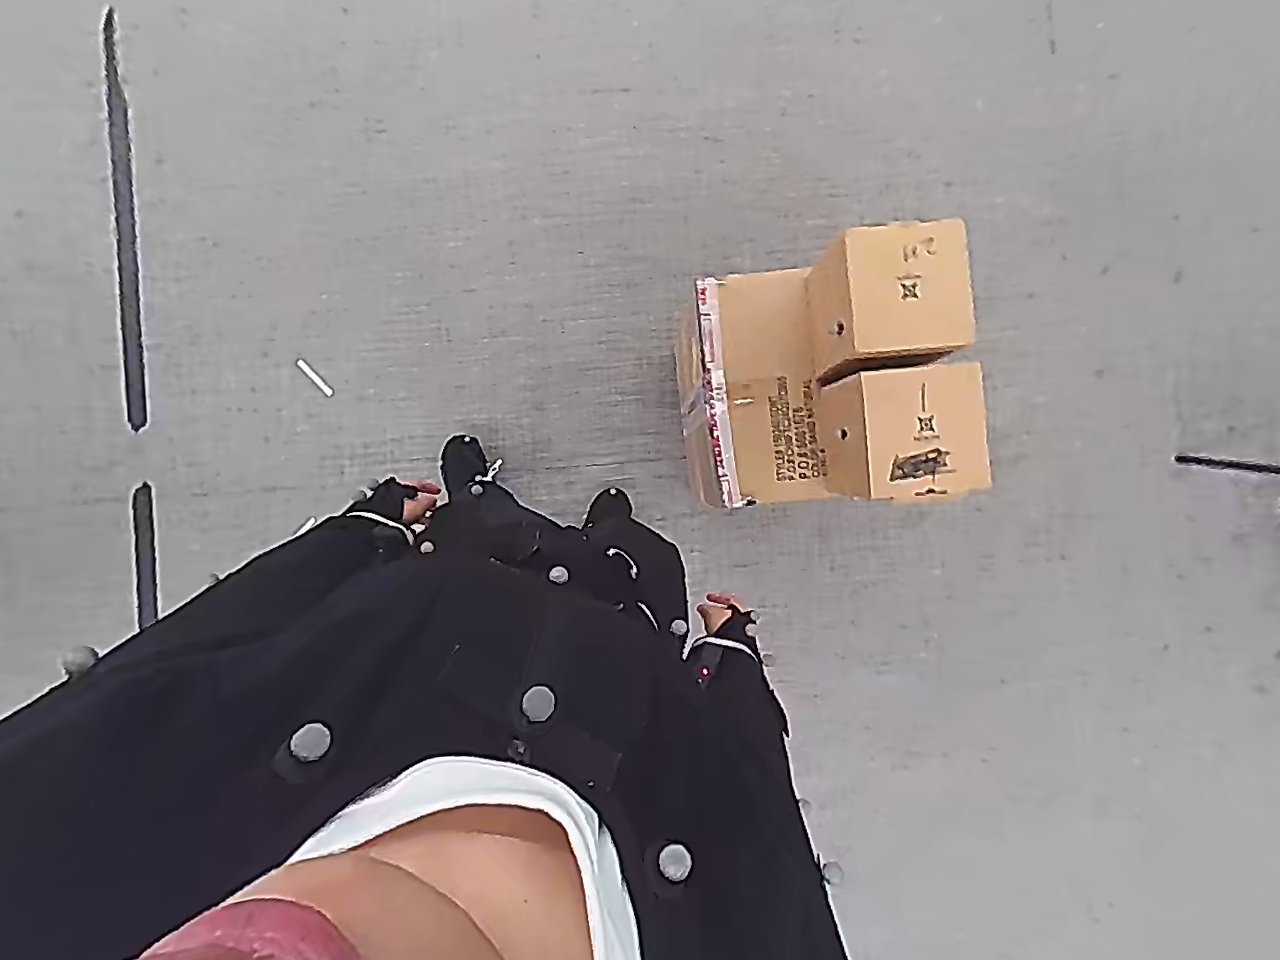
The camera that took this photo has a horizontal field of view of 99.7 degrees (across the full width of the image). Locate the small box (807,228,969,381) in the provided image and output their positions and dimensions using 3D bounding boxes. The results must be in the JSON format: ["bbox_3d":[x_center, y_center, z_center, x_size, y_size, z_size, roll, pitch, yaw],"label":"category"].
[{"bbox_3d":[0.363,-0.252,0.819,0.168,0.176,0.179,-4,87,0],"label":"small box"}]

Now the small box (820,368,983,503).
[{"bbox_3d":[0.384,-0.062,0.819,0.168,0.176,0.179,-5,90,0],"label":"small box"}]
